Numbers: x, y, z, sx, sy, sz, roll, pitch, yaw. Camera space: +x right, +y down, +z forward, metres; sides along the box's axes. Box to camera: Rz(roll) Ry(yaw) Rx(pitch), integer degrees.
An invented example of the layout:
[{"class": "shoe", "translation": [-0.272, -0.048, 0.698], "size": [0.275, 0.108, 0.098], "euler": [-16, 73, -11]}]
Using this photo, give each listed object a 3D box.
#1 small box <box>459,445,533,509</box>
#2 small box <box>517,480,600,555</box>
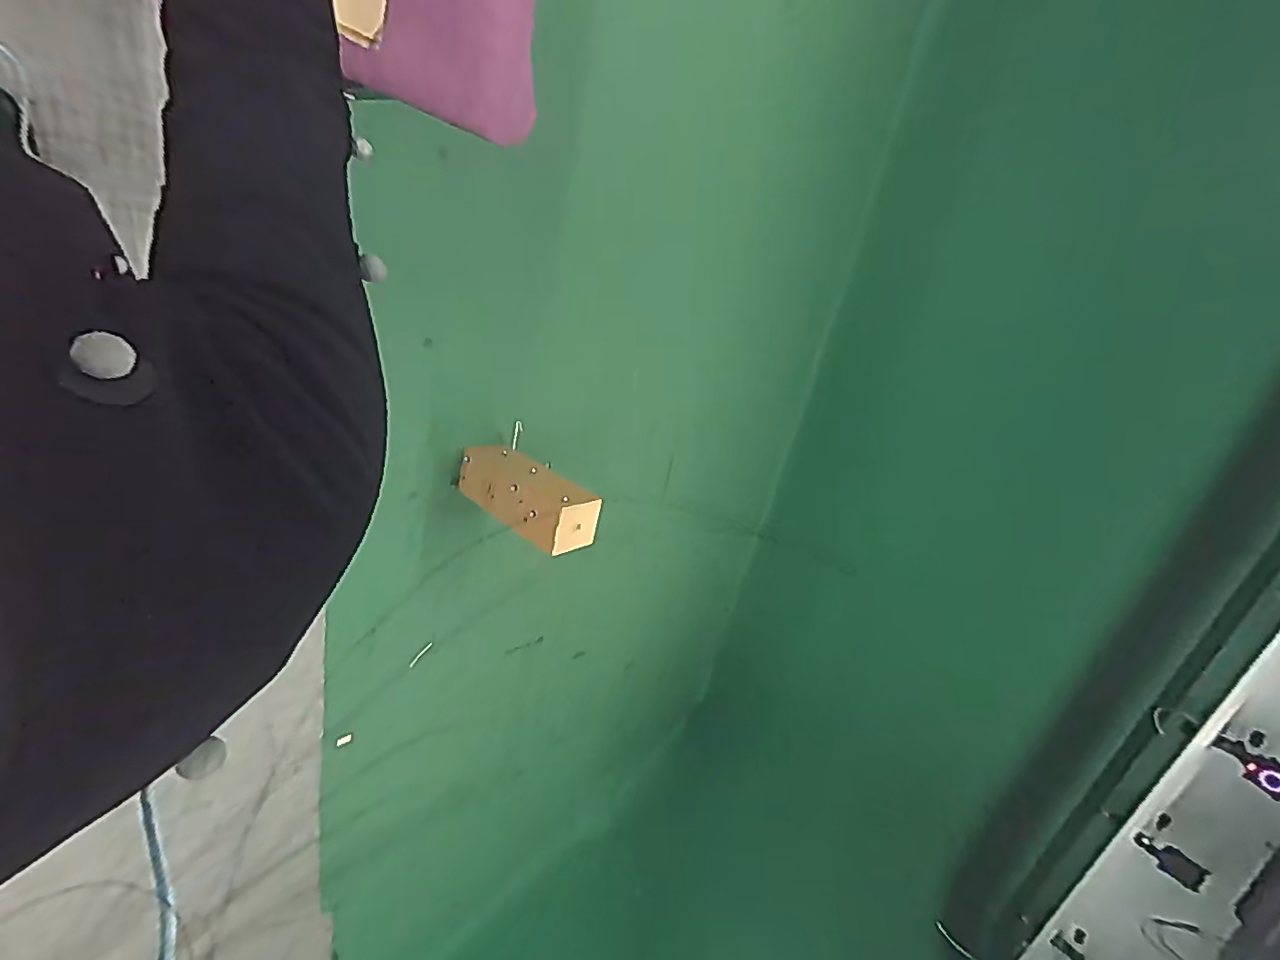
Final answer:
[{"class": "small box", "translation": [-0.504, -0.016, 1.877], "size": [0.179, 0.176, 0.168], "euler": [-9, 121, -51]}, {"class": "small box", "translation": [-0.257, 0.110, 1.701], "size": [0.179, 0.176, 0.168], "euler": [-12, 123, -50]}]
